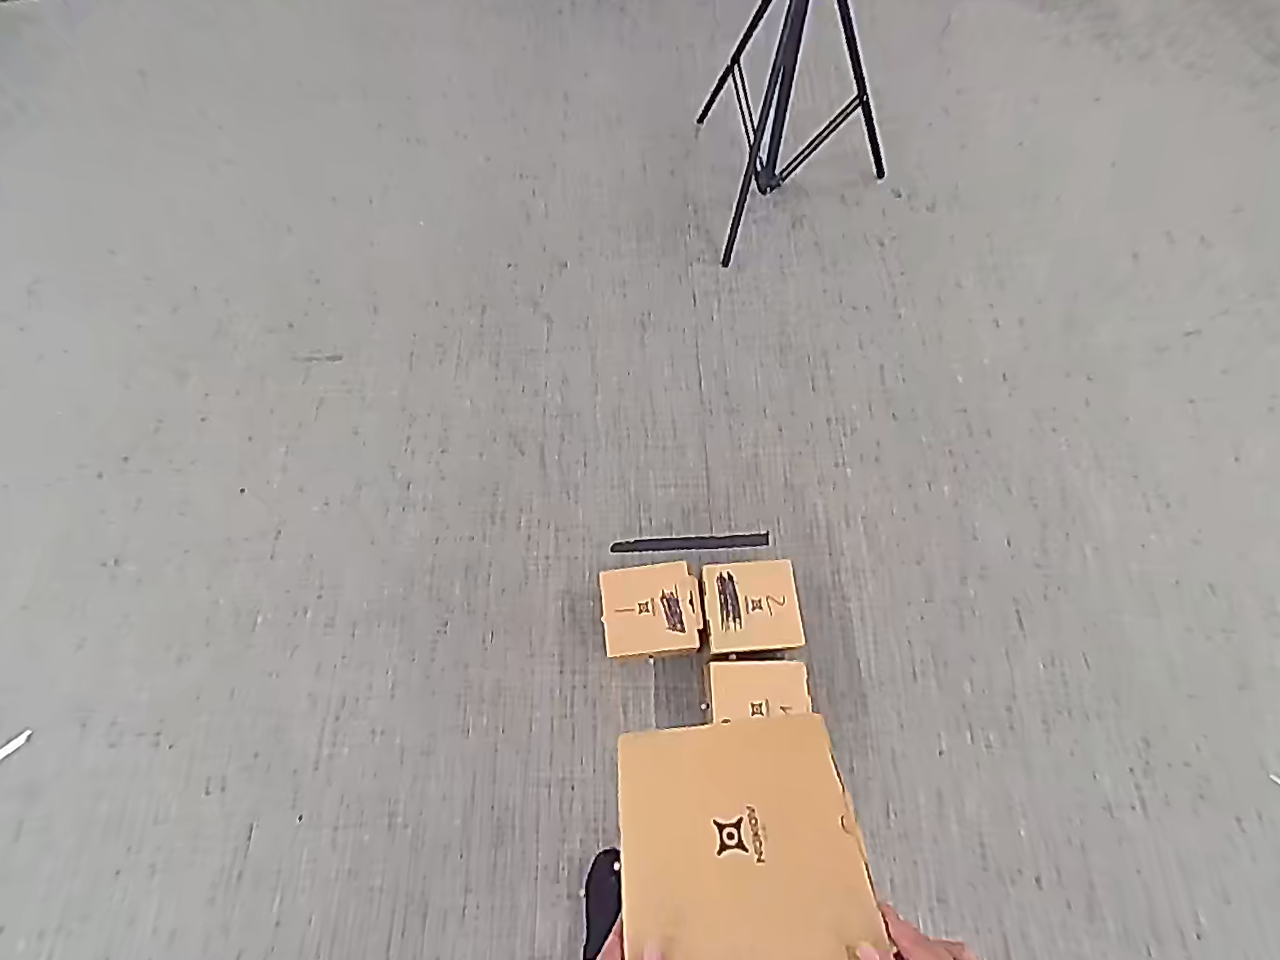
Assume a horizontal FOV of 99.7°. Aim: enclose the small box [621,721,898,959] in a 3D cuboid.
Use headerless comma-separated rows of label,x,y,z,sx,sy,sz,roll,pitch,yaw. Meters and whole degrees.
small box,0.084,0.324,0.448,0.179,0.176,0.168,-7,43,2
